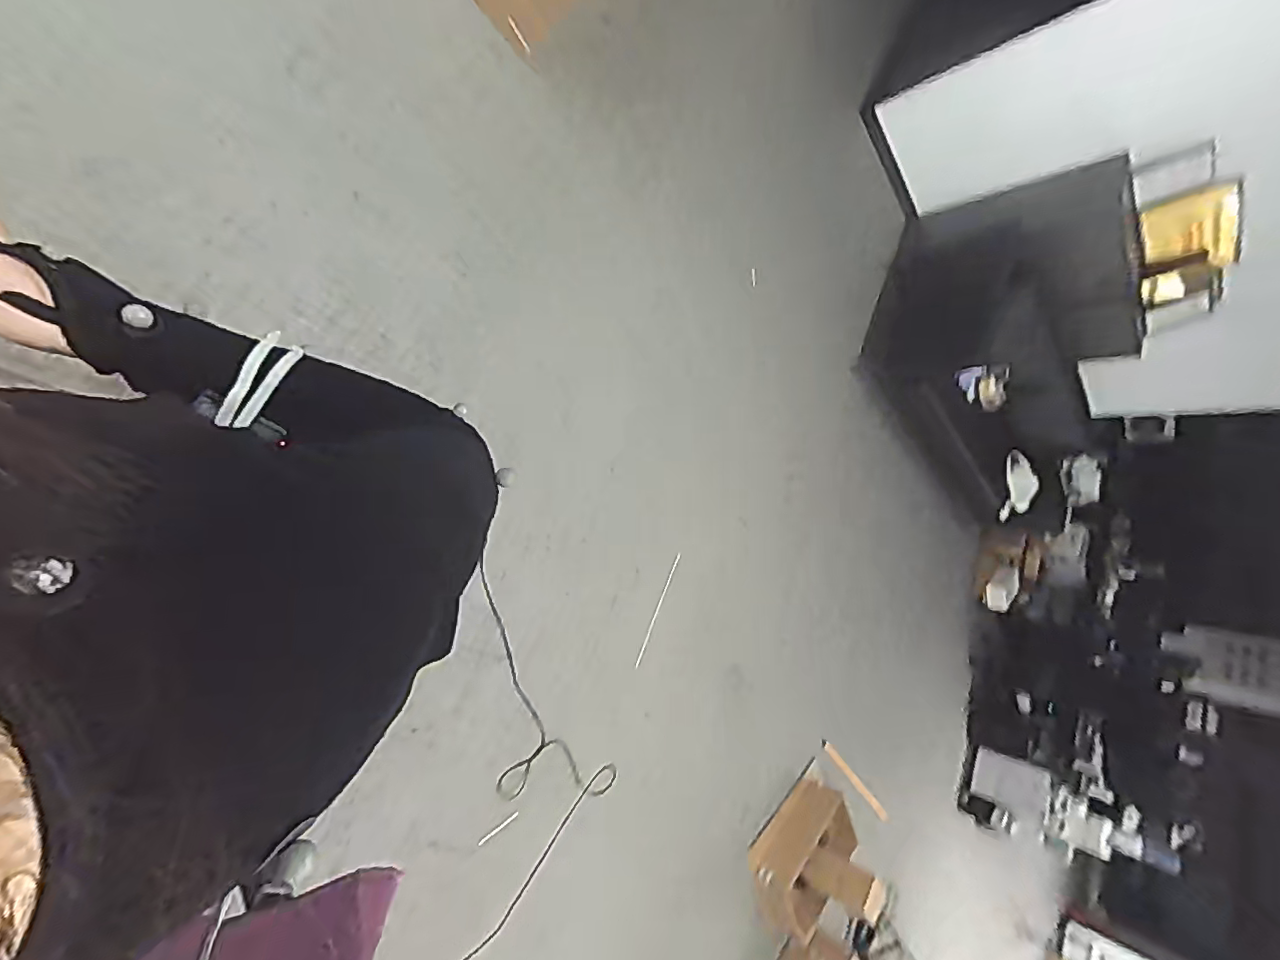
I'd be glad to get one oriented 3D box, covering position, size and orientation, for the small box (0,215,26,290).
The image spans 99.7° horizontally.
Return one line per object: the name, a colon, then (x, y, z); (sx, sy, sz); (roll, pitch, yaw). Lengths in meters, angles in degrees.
small box: (-0.554, -0.203, 0.341); (0.168, 0.176, 0.179); (-24, 118, -34)
